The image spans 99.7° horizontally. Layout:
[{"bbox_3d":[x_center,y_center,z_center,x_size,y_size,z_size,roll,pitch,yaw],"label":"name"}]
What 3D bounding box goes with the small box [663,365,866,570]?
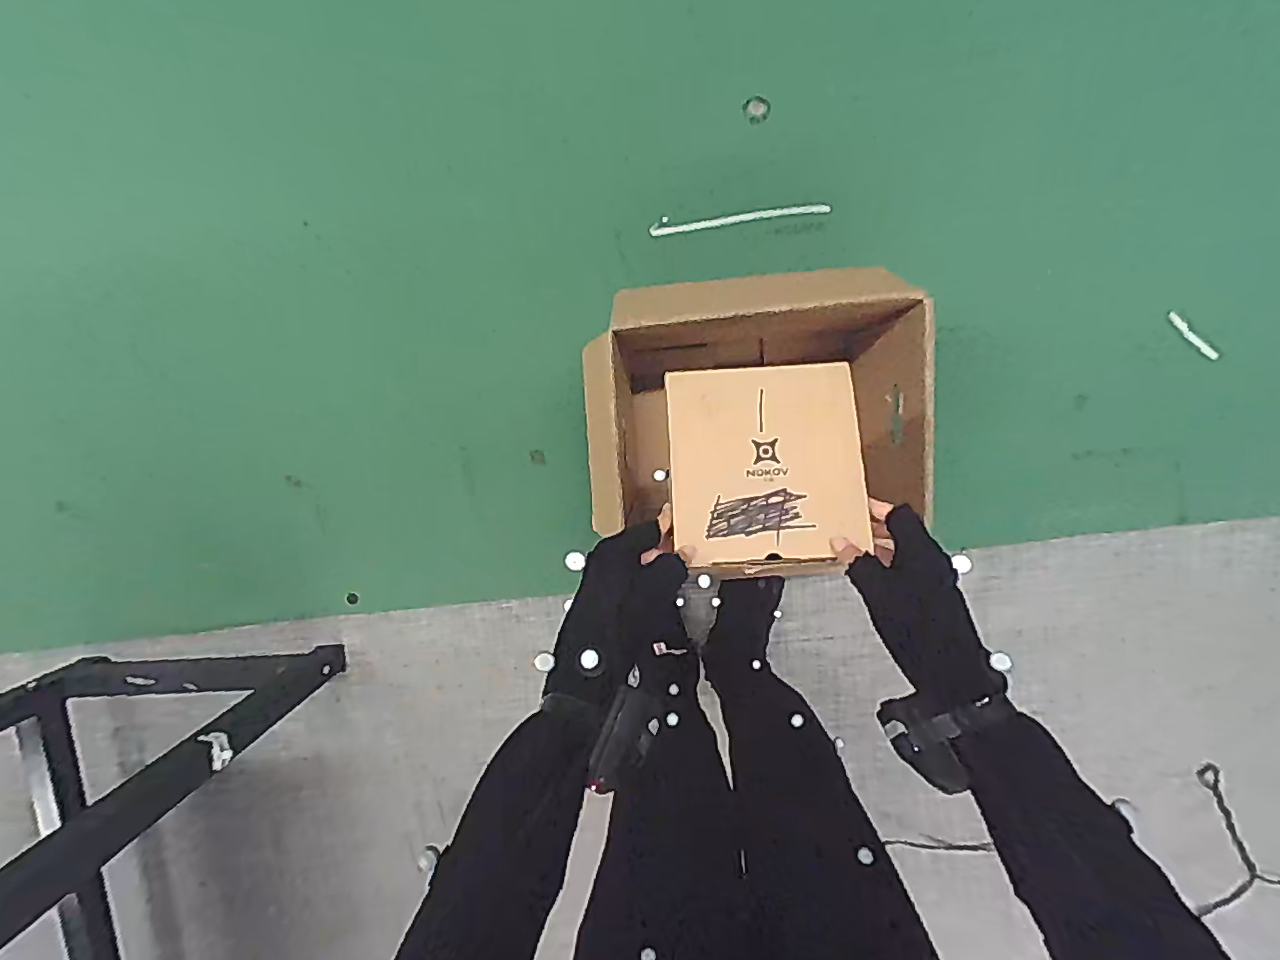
[{"bbox_3d":[0.111,0.001,0.550,0.168,0.176,0.179,-3,78,2],"label":"small box"}]
